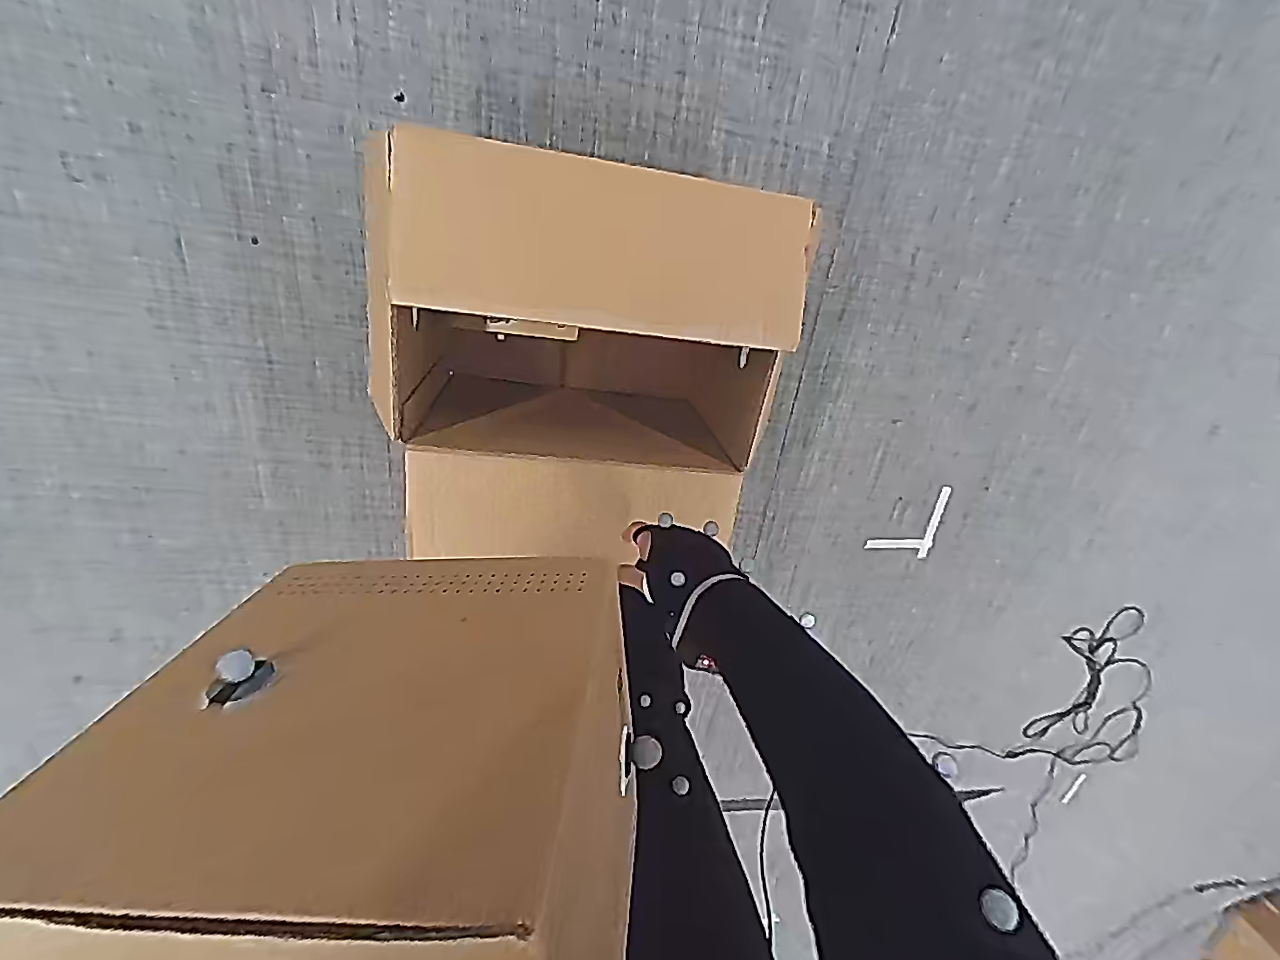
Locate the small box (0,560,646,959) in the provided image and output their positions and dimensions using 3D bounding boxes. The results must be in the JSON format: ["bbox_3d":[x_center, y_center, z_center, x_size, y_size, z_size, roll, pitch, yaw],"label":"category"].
[{"bbox_3d":[-0.094,0.149,0.248,0.179,0.176,0.168,-3,114,5],"label":"small box"}]
